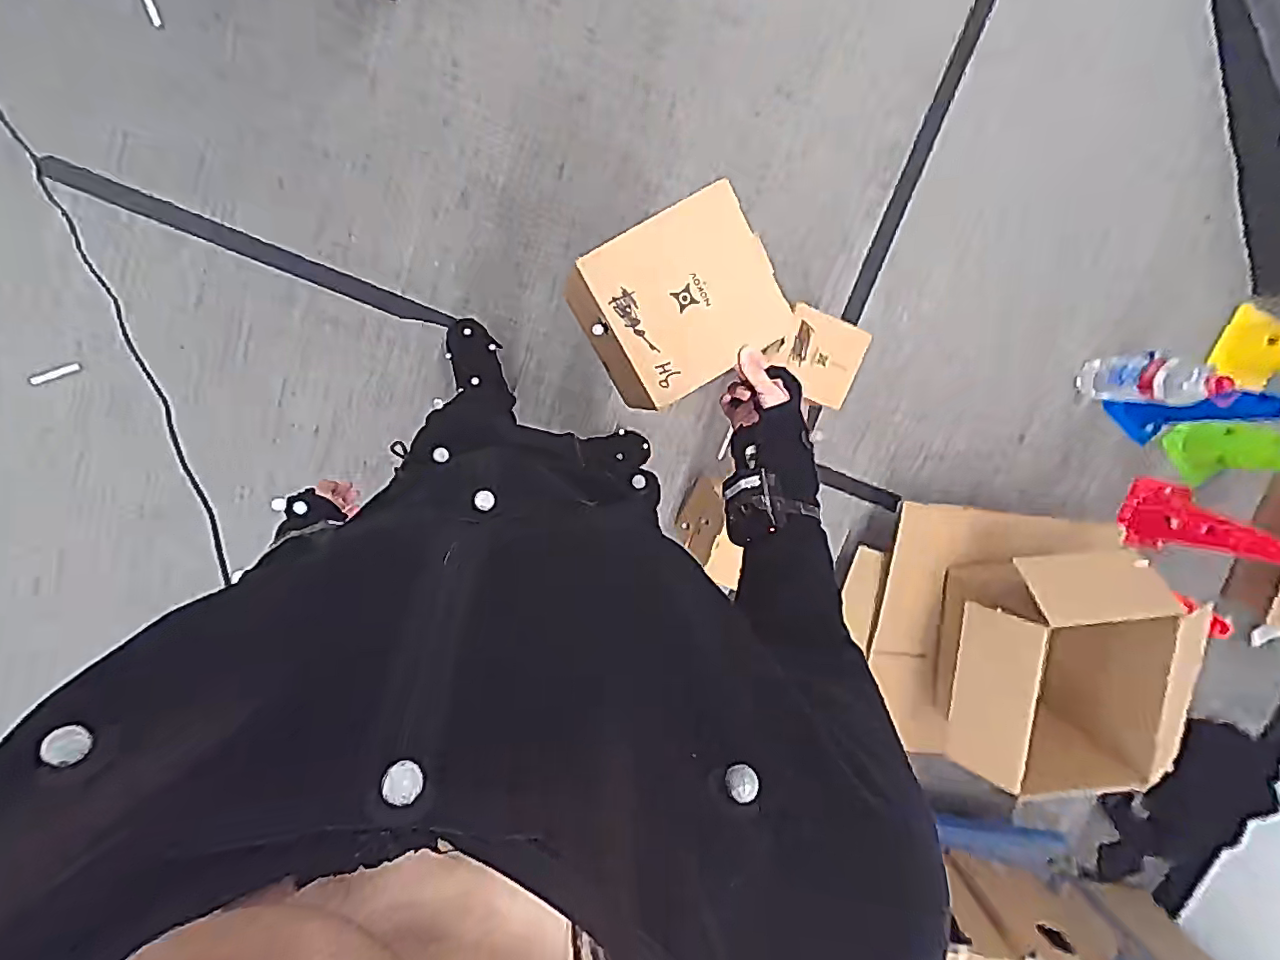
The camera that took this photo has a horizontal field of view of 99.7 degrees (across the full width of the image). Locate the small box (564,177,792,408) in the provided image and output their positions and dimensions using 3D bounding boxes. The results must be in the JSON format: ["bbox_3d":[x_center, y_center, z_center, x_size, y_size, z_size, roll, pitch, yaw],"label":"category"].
[{"bbox_3d":[0.031,-0.197,0.611,0.179,0.176,0.168,-33,104,-6],"label":"small box"}]

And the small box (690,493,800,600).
[{"bbox_3d":[0.233,0.146,1.249,0.179,0.176,0.168,20,102,-9],"label":"small box"}]

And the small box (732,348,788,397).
[{"bbox_3d":[0.338,-0.305,1.321,0.168,0.176,0.179,17,100,-10],"label":"small box"}]

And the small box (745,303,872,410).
[{"bbox_3d":[0.350,-0.262,1.162,0.179,0.176,0.168,20,101,-11],"label":"small box"}]

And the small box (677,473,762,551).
[{"bbox_3d":[0.207,0.104,1.404,0.168,0.176,0.179,24,101,-10],"label":"small box"}]
